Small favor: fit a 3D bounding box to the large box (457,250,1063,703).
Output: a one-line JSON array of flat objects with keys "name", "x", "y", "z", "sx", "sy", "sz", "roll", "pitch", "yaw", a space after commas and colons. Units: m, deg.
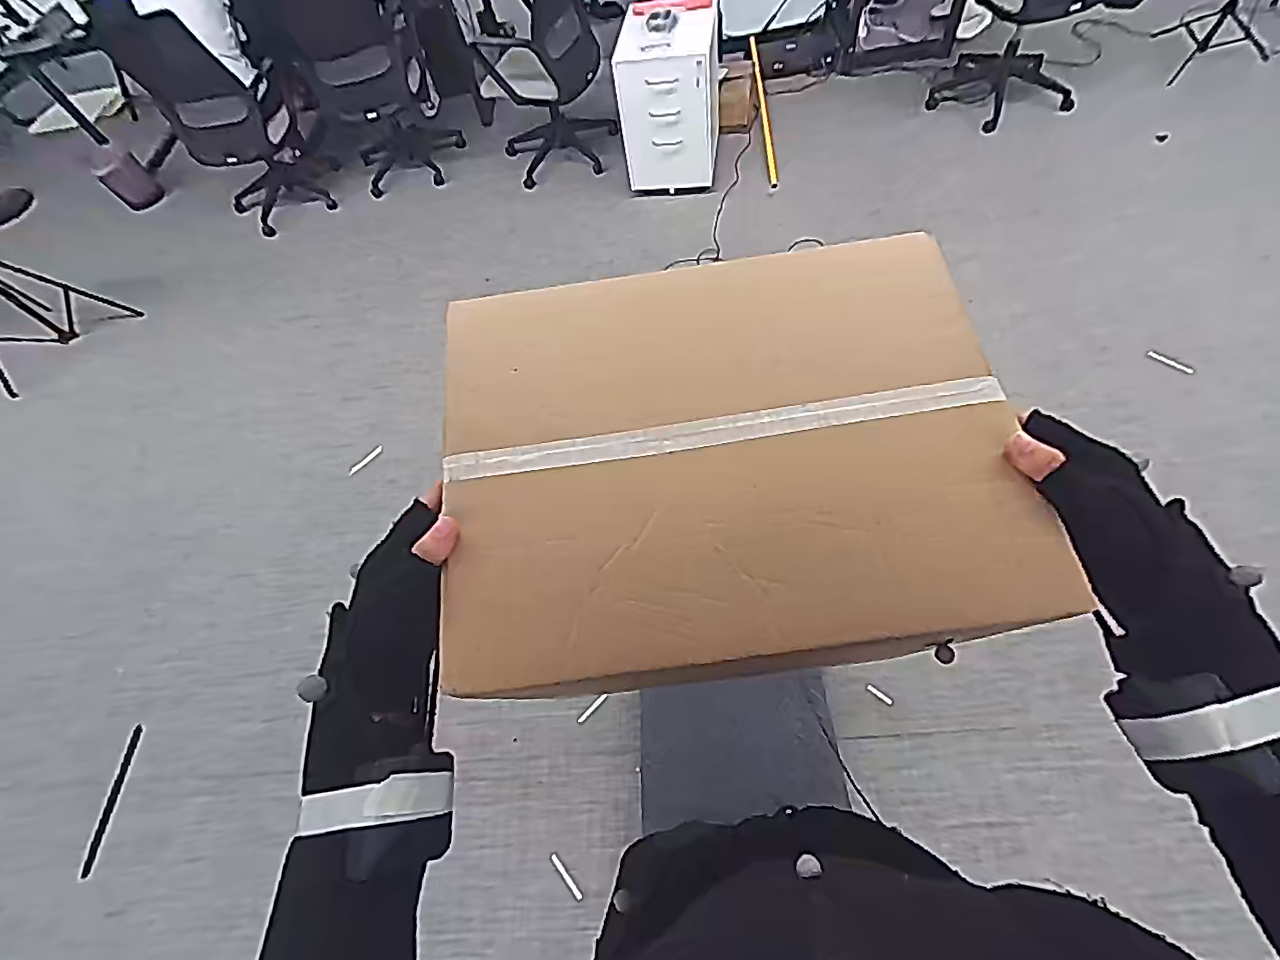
[{"name": "large box", "x": 0.072, "y": 0.030, "z": 0.543, "sx": 0.408, "sy": 0.320, "sz": 0.320, "roll": -9, "pitch": 67, "yaw": 2}]
